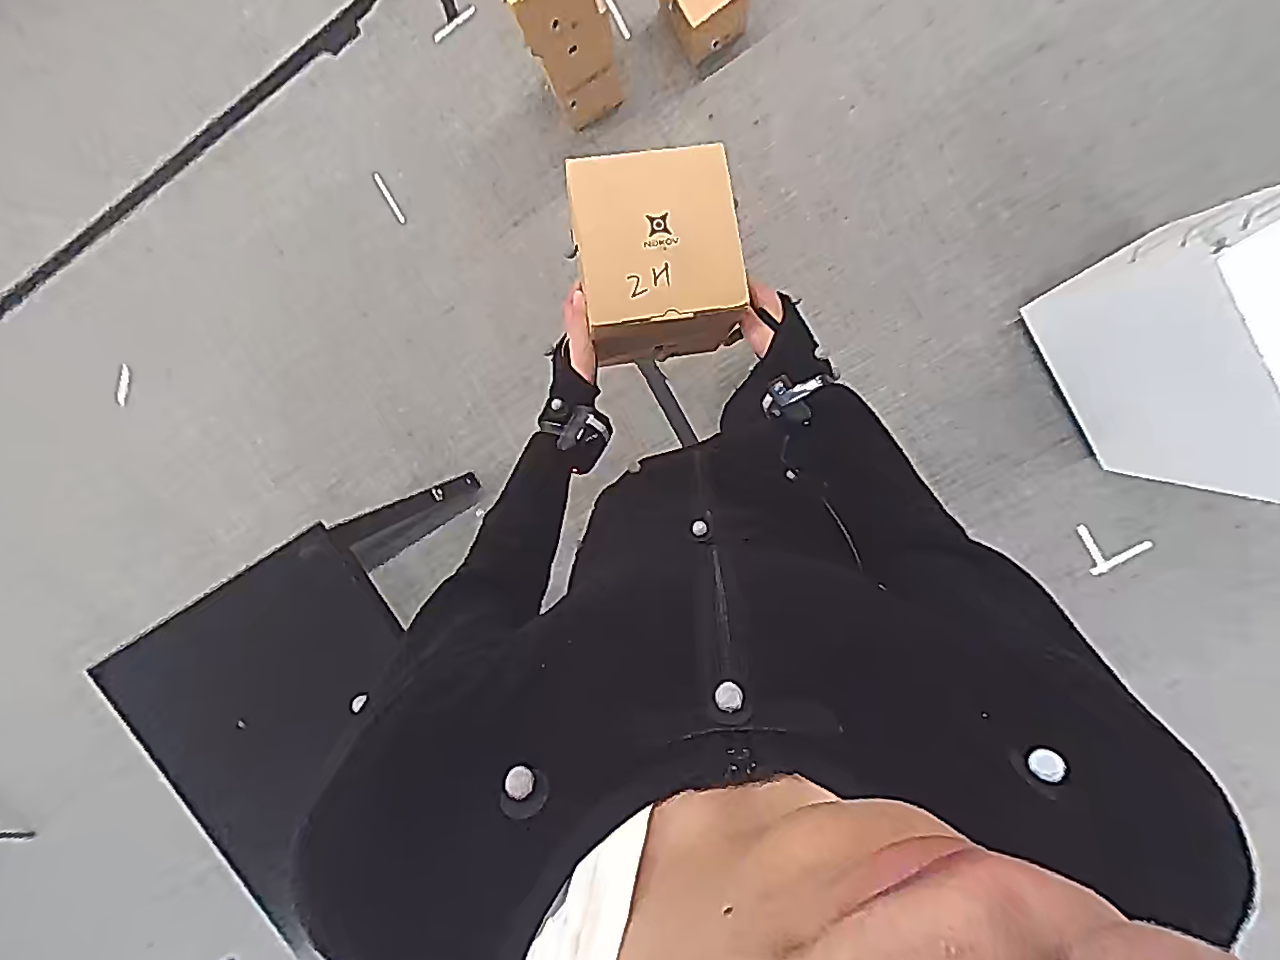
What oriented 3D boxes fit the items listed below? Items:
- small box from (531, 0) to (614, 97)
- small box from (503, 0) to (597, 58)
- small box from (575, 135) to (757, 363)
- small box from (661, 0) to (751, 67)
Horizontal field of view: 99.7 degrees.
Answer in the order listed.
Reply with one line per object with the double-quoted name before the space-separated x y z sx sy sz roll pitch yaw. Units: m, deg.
"small box" -0.176 -1.031 1.233 0.179 0.176 0.168 -30 95 8
"small box" -0.203 -1.008 1.074 0.168 0.176 0.179 -28 96 8
"small box" 0.020 -0.248 0.615 0.168 0.176 0.179 -8 88 -4
"small box" 0.159 -1.196 1.347 0.168 0.176 0.179 -31 96 10
